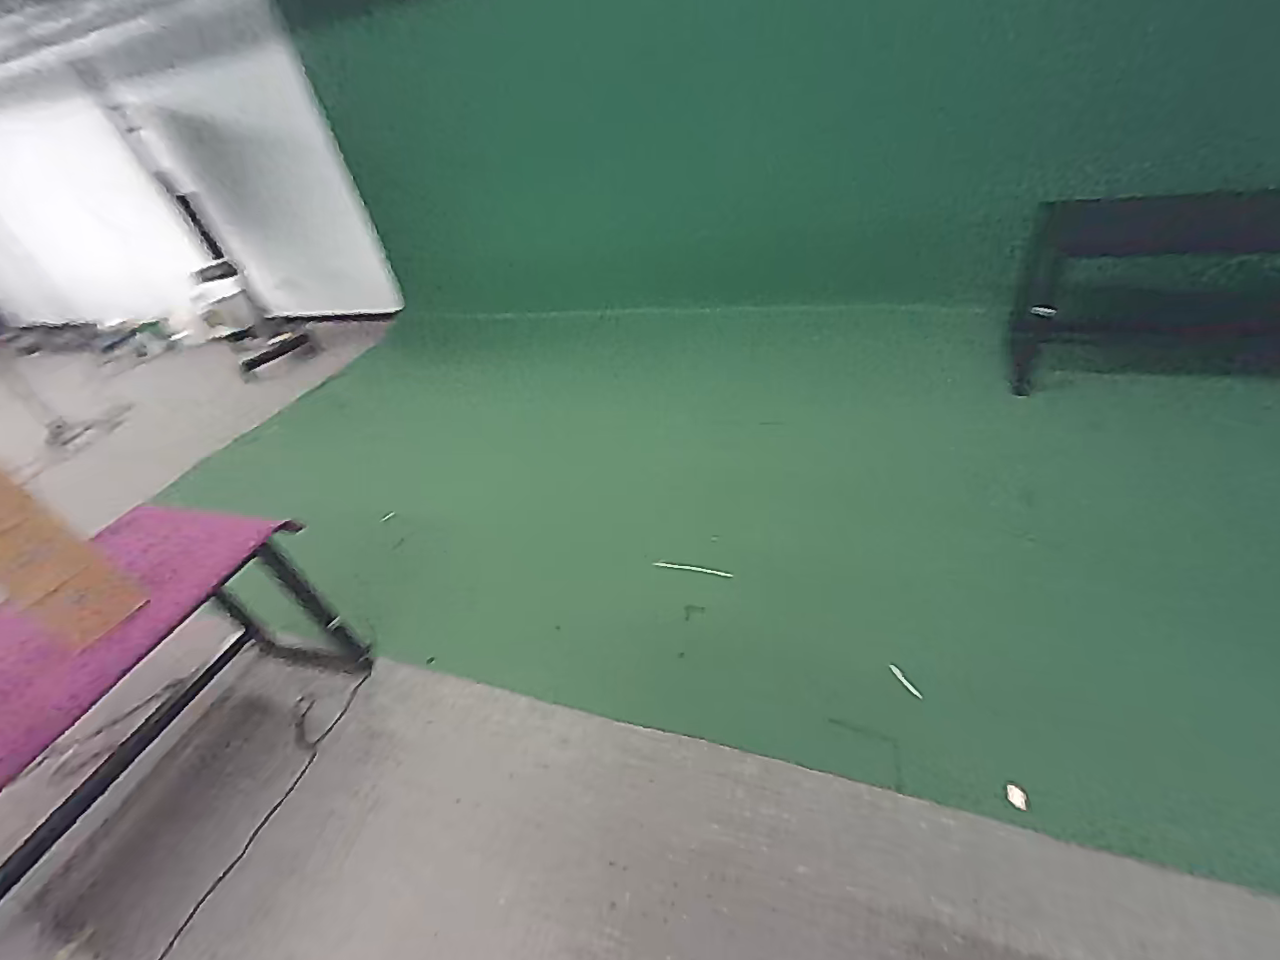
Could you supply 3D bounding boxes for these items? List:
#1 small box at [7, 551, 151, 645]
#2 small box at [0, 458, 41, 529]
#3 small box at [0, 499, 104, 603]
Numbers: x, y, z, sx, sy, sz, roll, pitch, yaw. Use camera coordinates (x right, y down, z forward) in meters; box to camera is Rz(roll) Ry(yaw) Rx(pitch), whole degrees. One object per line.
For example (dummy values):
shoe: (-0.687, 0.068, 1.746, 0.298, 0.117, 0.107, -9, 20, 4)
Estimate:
small box: (-1.396, 0.280, 1.349, 0.168, 0.176, 0.179, 13, 45, 28)
small box: (-1.450, 0.028, 1.146, 0.168, 0.176, 0.179, 10, 44, 25)
small box: (-1.421, 0.155, 1.247, 0.168, 0.176, 0.179, 11, 45, 25)
